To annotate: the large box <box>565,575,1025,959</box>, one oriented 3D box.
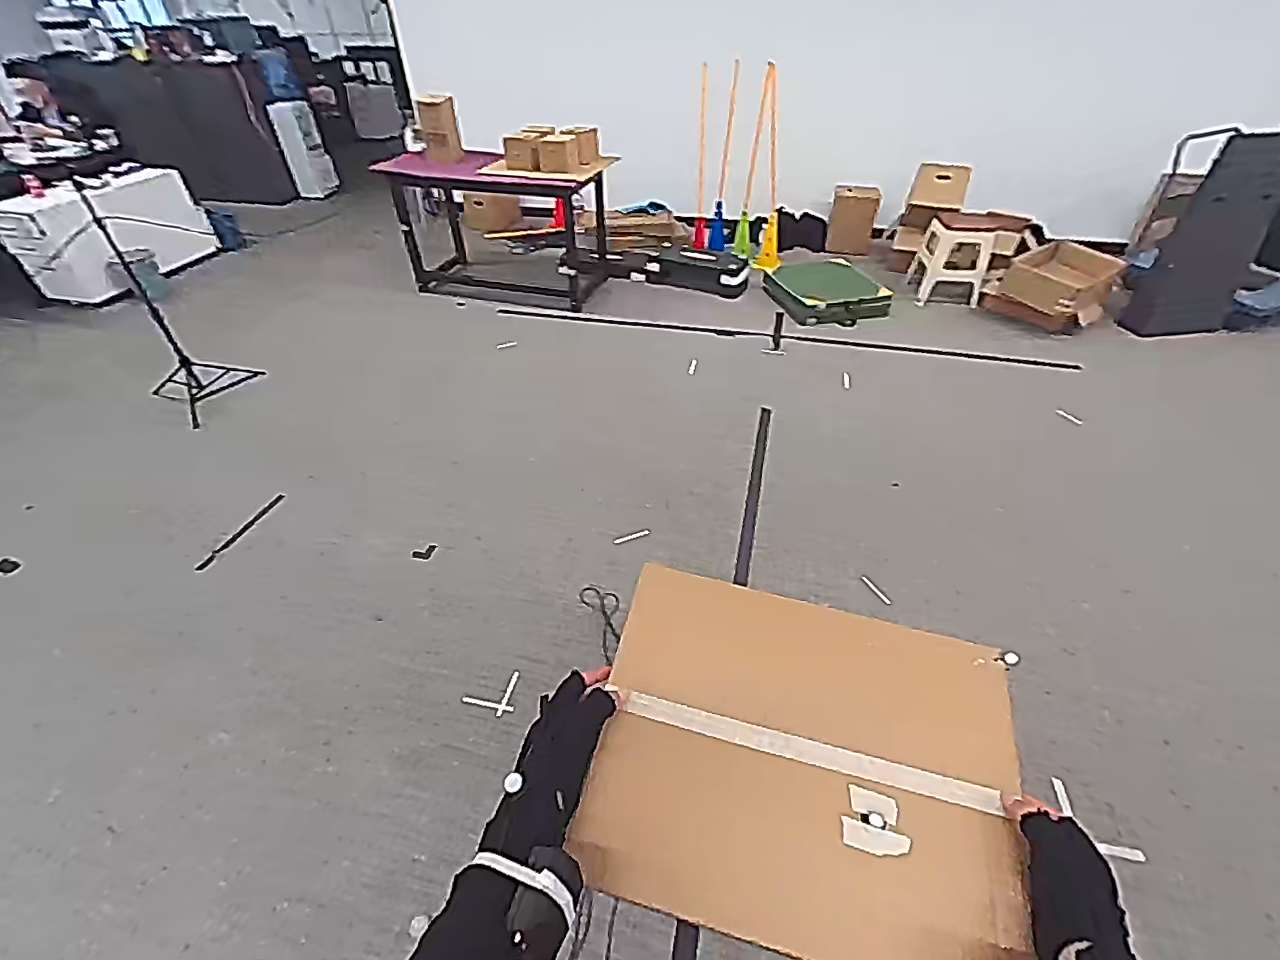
[{"bbox_3d":[0.154,0.357,0.664,0.408,0.320,0.320,12,56,8],"label":"large box"}]
